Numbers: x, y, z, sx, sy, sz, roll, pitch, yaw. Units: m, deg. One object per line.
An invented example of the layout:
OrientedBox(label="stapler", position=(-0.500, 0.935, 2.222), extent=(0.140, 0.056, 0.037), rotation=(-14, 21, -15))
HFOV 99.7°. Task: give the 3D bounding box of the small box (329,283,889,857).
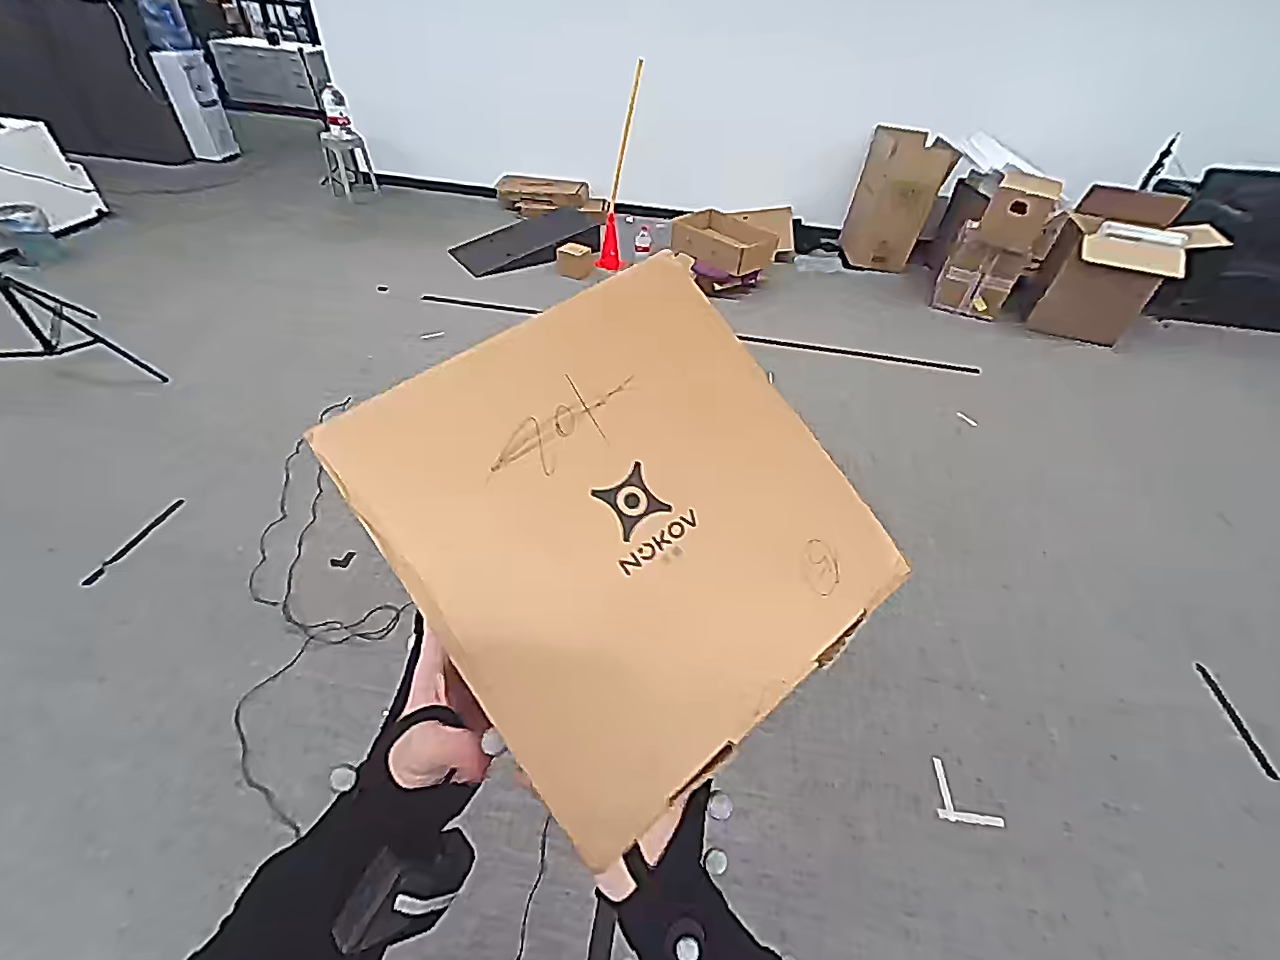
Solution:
OrientedBox(label="small box", position=(-0.020, 0.040, 0.291), extent=(0.168, 0.176, 0.179), rotation=(-35, 84, -21))
